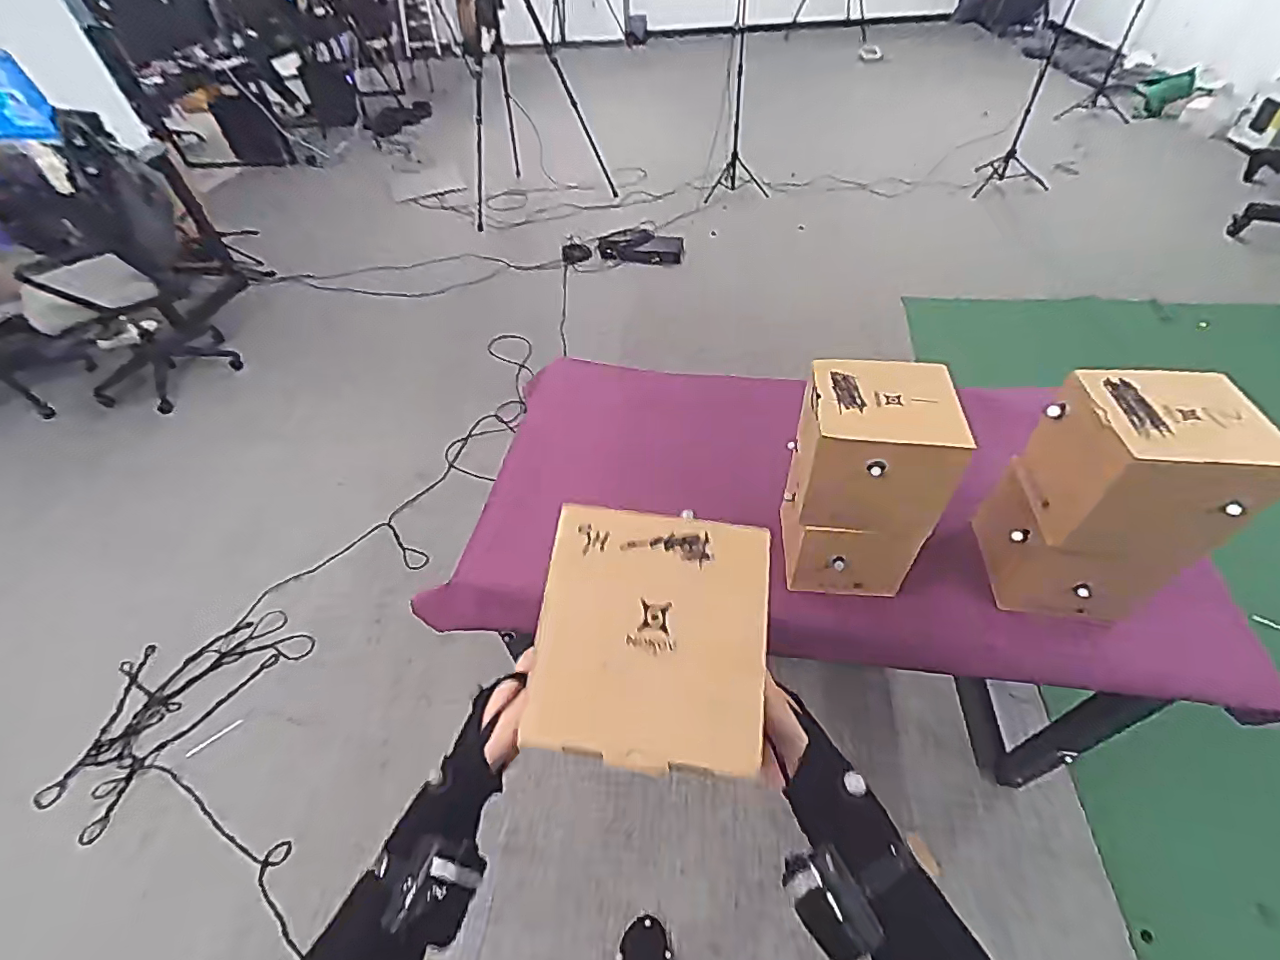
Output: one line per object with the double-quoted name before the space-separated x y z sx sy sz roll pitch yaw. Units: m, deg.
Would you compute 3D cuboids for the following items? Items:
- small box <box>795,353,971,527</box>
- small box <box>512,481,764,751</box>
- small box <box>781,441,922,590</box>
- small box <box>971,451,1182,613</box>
"small box" 0.311 -0.053 0.738 0.179 0.176 0.168 6 47 9
"small box" 0.005 0.120 0.472 0.168 0.176 0.179 8 69 3
"small box" 0.321 0.058 0.860 0.168 0.176 0.179 2 47 7
"small box" 0.632 0.080 0.814 0.168 0.176 0.179 5 48 9
